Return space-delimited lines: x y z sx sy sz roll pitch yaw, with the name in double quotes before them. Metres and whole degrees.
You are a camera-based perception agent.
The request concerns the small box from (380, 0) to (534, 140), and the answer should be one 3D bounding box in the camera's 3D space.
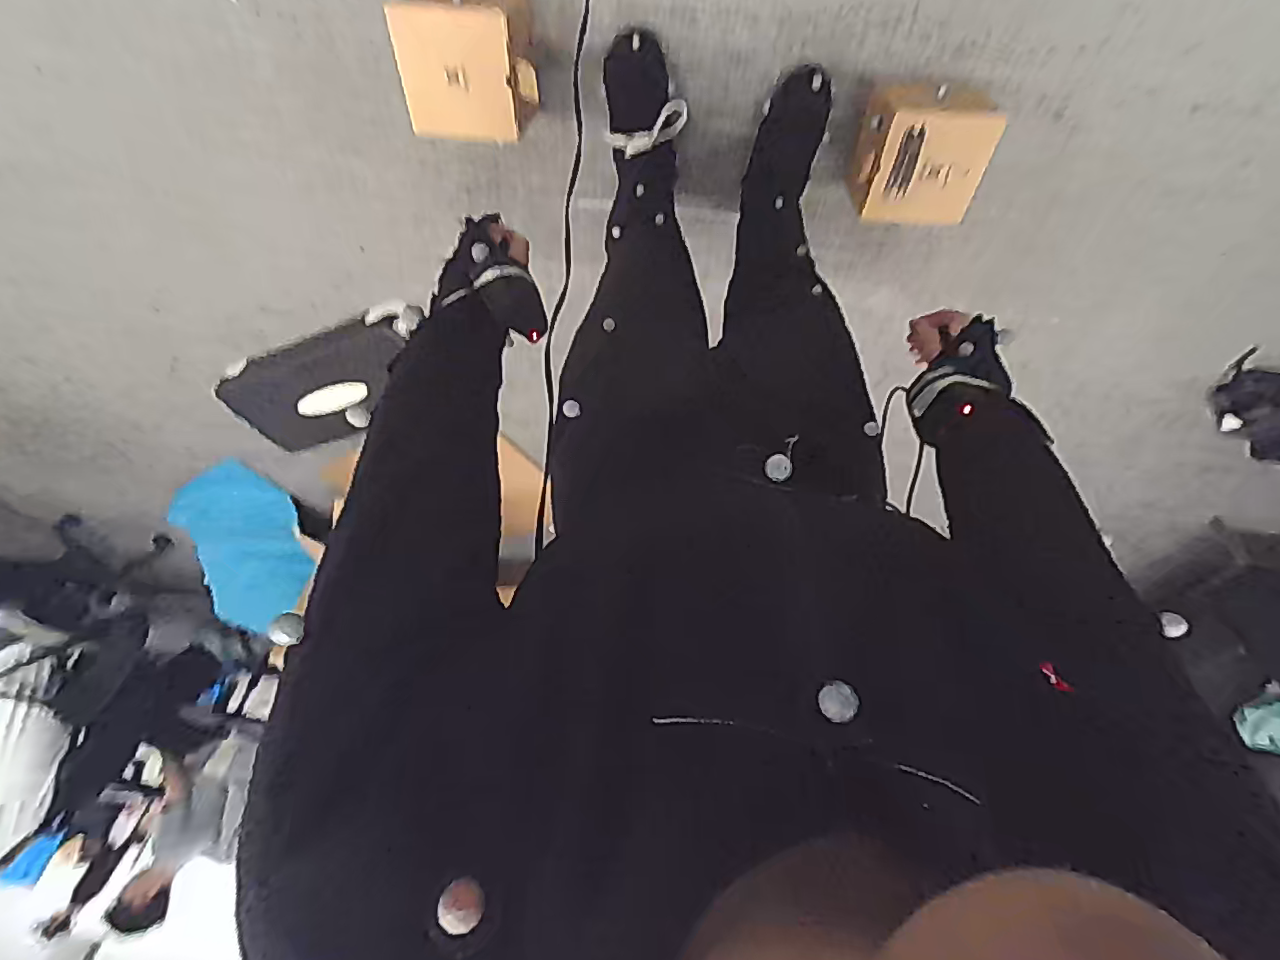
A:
"small box" -0.278 -0.672 0.867 0.179 0.176 0.168 4 140 0
